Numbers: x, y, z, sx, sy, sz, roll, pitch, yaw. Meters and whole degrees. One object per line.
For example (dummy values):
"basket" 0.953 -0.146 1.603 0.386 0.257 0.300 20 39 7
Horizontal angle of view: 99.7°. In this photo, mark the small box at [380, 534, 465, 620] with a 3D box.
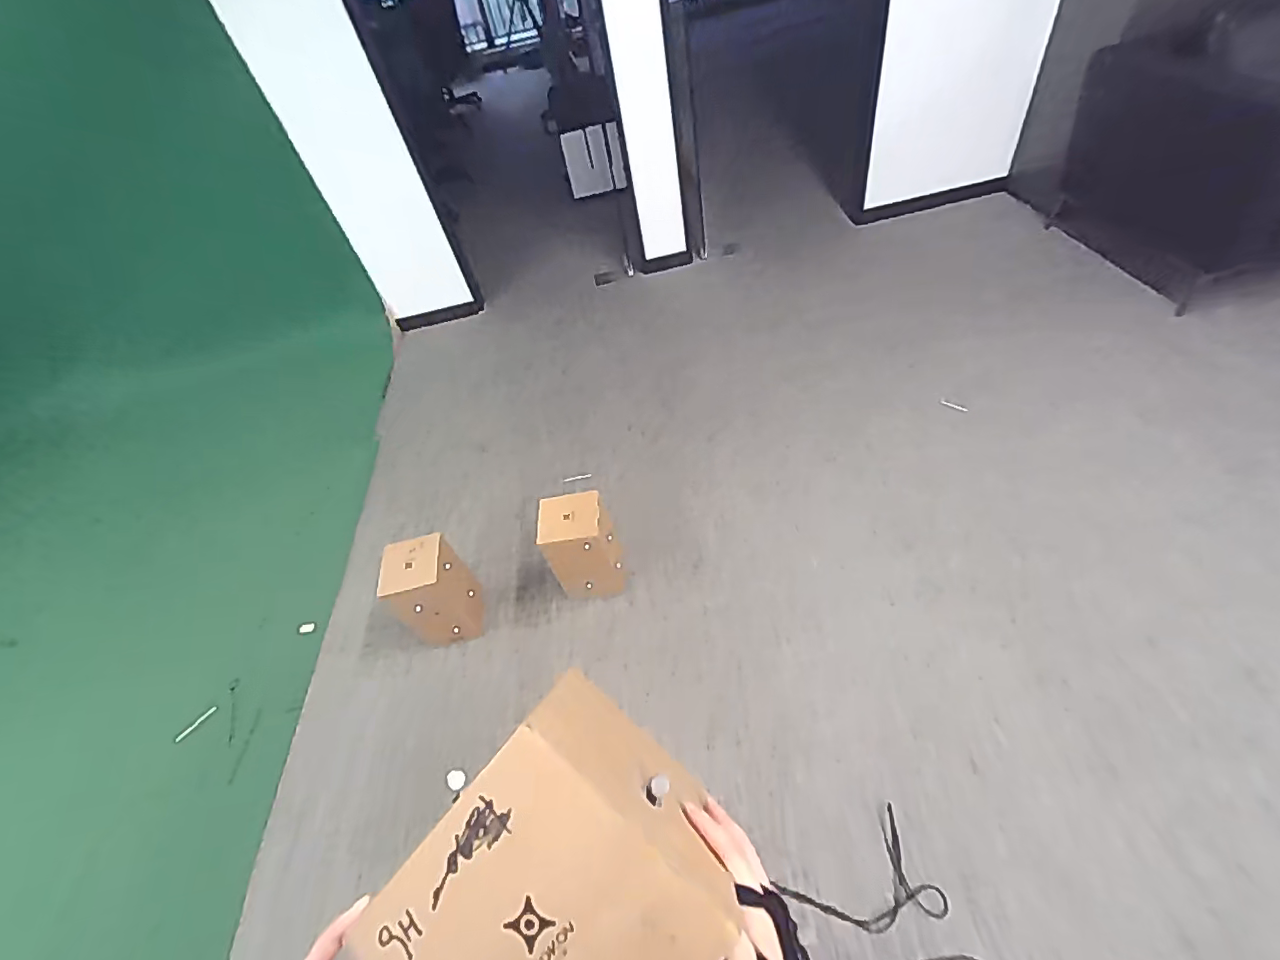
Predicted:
"small box" -0.619 0.287 1.562 0.168 0.176 0.179 -13 47 0

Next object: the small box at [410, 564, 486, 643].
"small box" -0.590 0.392 1.685 0.168 0.176 0.179 -13 47 1

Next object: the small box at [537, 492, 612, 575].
"small box" -0.184 0.160 1.573 0.179 0.176 0.168 -9 47 5
